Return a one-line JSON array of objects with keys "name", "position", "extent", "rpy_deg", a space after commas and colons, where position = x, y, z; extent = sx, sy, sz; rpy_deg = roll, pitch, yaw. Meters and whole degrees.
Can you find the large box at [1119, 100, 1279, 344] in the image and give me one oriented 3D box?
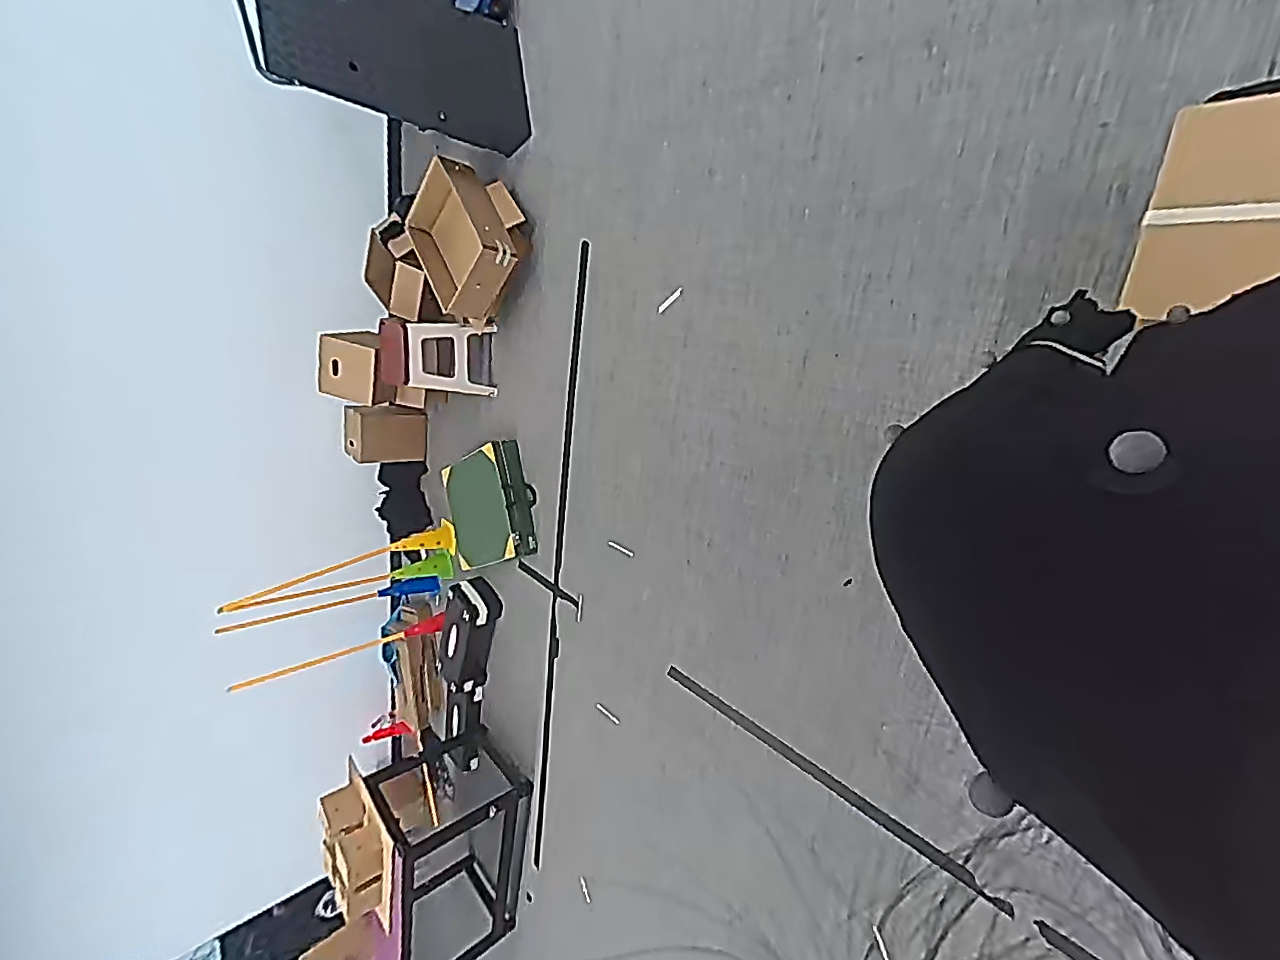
[{"name": "large box", "position": [1.059, -0.383, 0.847], "extent": [0.408, 0.320, 0.320], "rpy_deg": [19, 109, 42]}]
